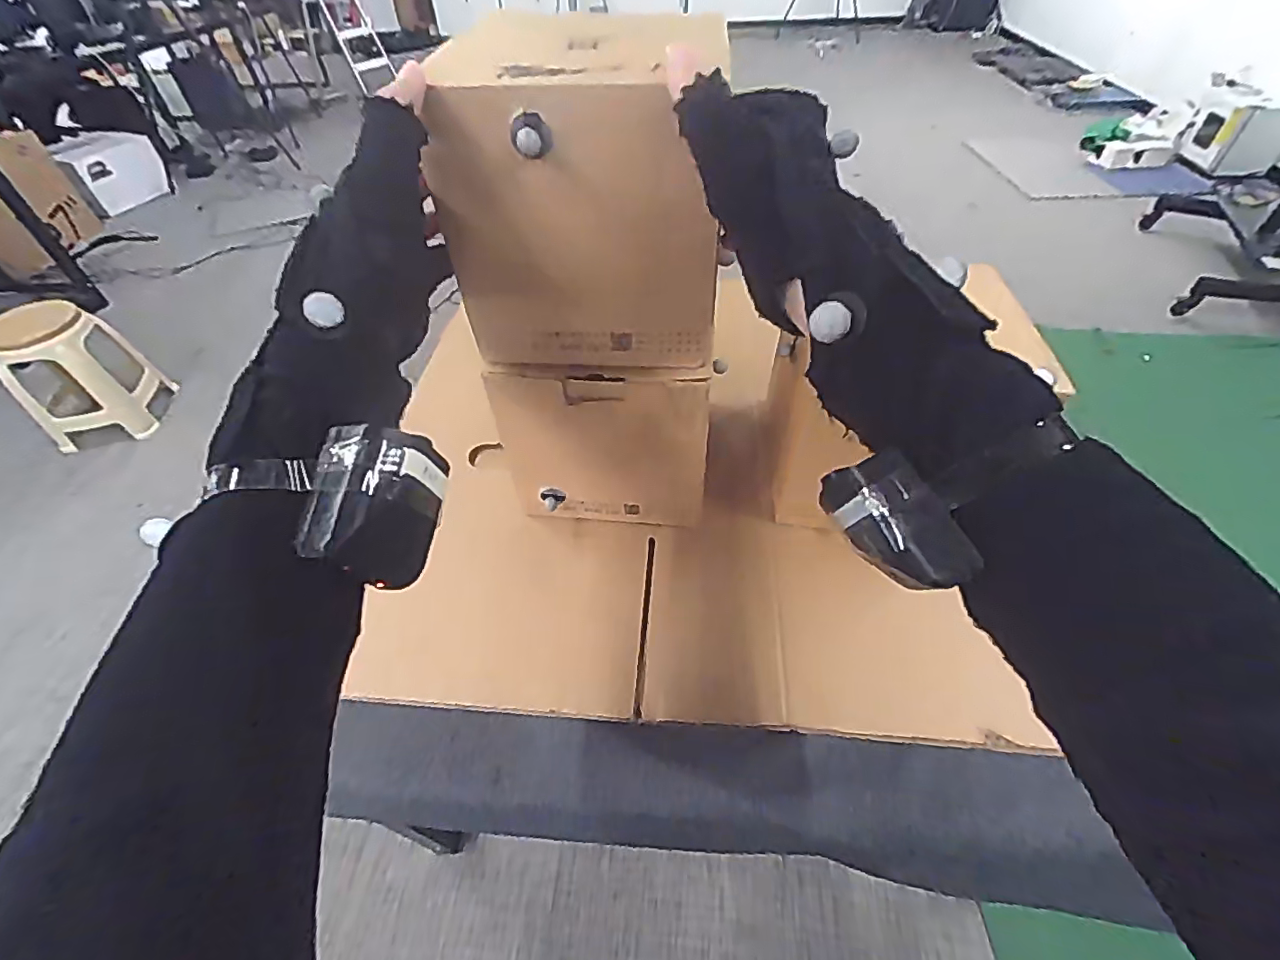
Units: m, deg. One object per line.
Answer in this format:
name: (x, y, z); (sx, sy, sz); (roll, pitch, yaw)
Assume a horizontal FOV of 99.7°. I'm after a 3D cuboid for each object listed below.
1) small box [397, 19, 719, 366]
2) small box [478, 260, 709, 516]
small box: (-0.034, -0.201, 0.381); (0.168, 0.176, 0.179); (2, 49, 5)
small box: (-0.025, -0.084, 0.496); (0.168, 0.176, 0.179); (4, 49, 6)
